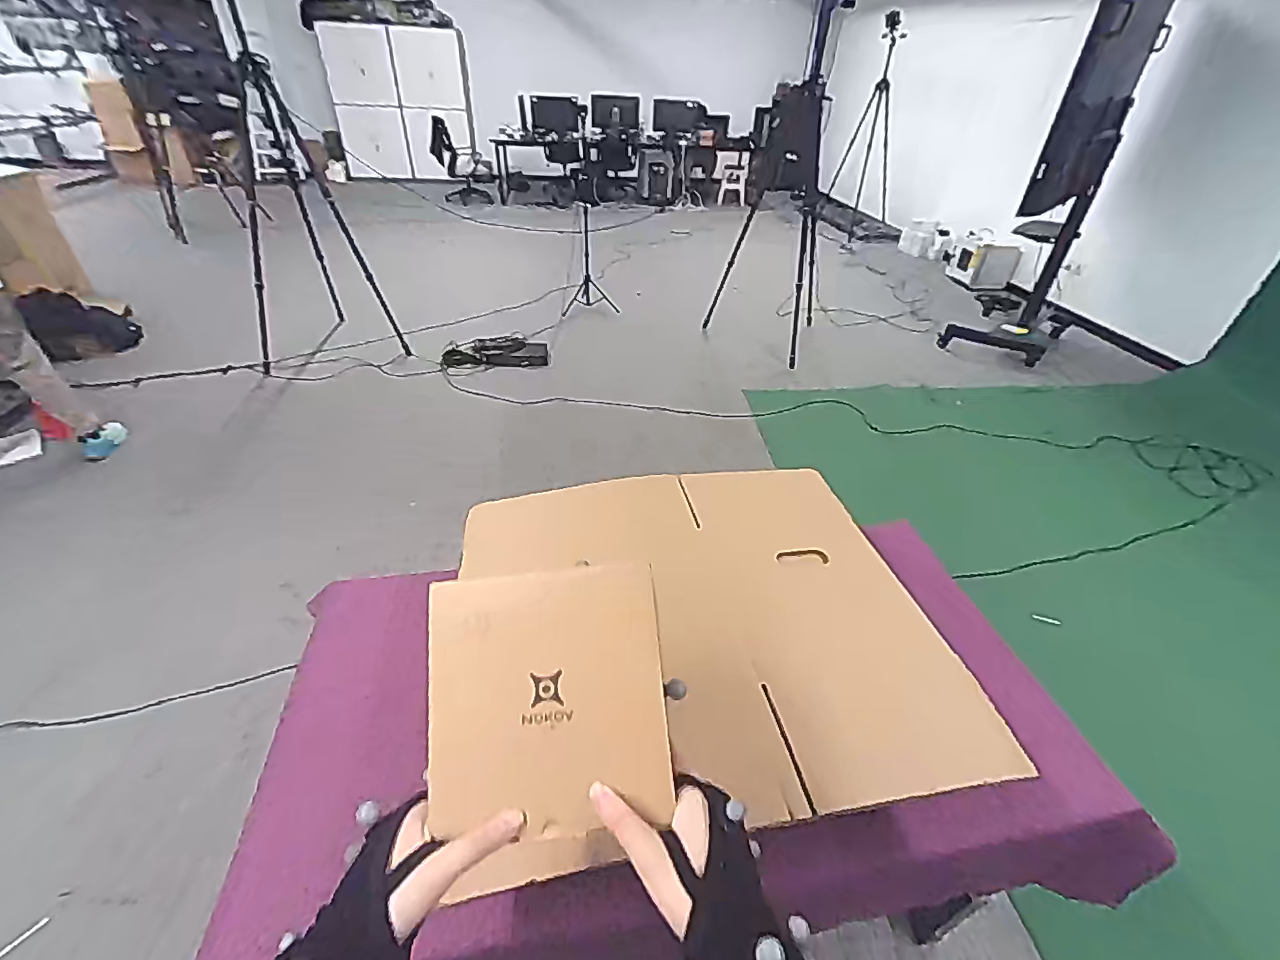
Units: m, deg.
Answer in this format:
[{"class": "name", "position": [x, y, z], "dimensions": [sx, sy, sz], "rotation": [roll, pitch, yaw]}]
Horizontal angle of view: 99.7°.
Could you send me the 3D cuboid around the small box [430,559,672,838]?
[{"class": "small box", "position": [-0.067, 0.173, 0.465], "dimensions": [0.168, 0.176, 0.179], "rotation": [-6, 74, 0]}]
